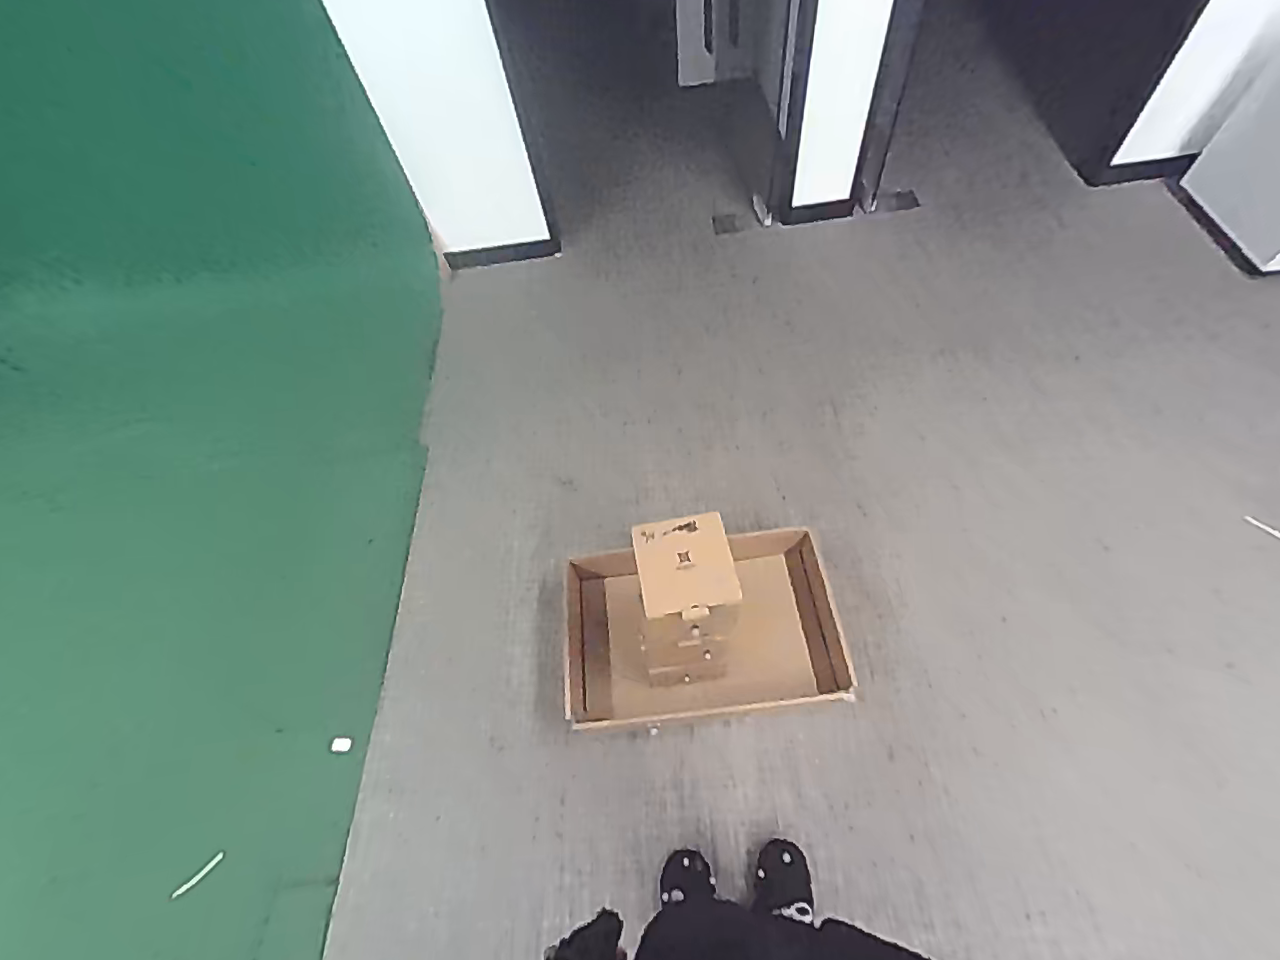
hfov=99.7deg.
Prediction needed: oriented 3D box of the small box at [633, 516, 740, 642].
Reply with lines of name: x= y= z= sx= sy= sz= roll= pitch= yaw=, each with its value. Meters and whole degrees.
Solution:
small box: x=0.084 y=0.190 z=0.999 sx=0.168 sy=0.176 sz=0.179 roll=-8 pitch=58 yaw=0

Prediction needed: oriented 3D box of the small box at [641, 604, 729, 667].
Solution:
small box: x=0.091 y=0.283 z=1.134 sx=0.168 sy=0.176 sz=0.179 roll=-6 pitch=56 yaw=1

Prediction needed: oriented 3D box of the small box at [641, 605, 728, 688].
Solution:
small box: x=0.103 y=0.377 z=1.263 sx=0.179 sy=0.176 sz=0.168 roll=-9 pitch=57 yaw=2
